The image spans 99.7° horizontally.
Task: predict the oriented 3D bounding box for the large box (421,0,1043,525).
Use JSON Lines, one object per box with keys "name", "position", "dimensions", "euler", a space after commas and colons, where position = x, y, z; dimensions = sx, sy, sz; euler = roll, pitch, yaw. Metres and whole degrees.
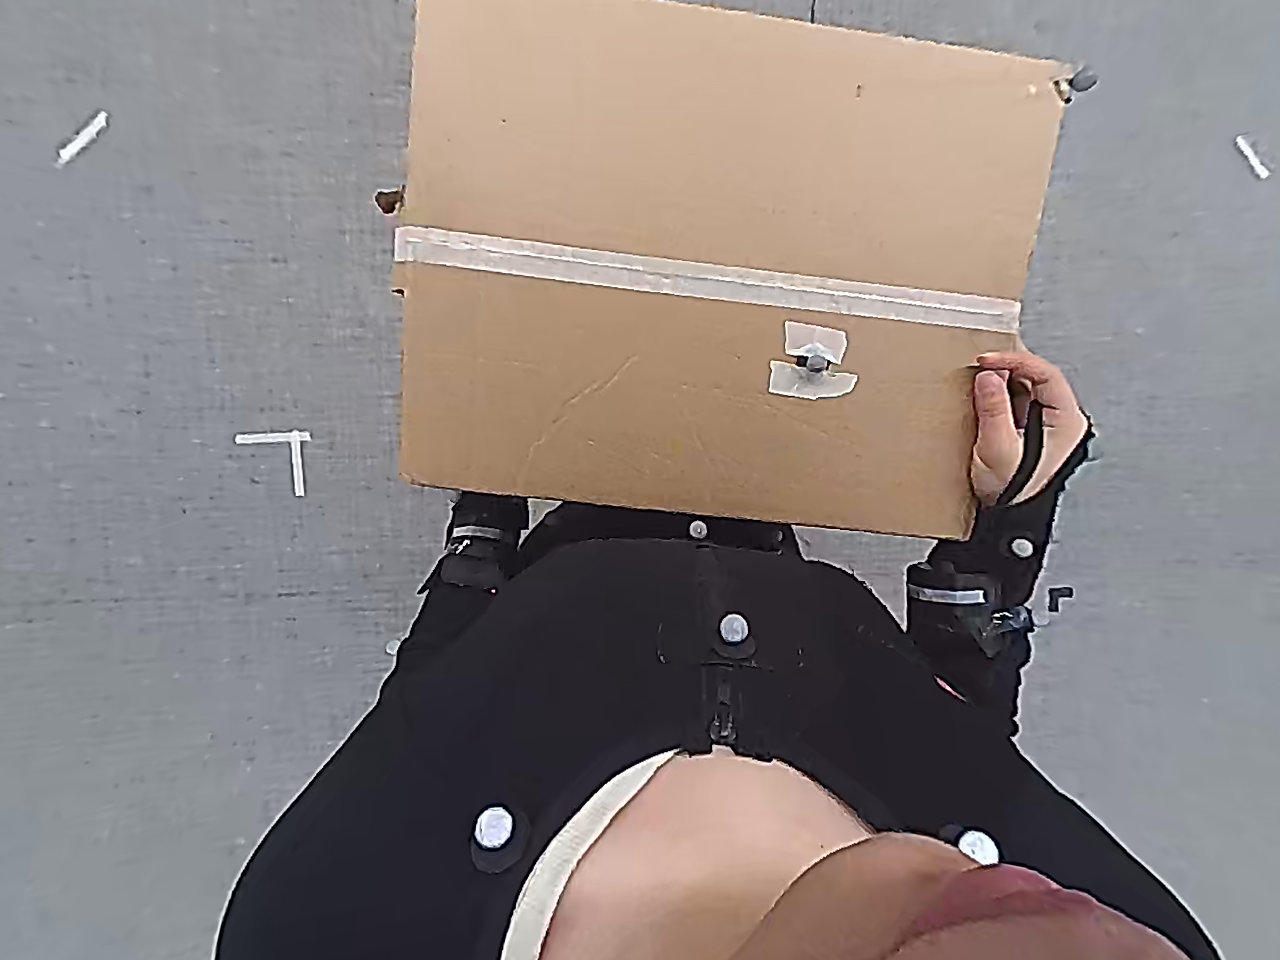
{"name": "large box", "position": [0.047, -0.155, 0.511], "dimensions": [0.408, 0.320, 0.320], "euler": [5, 100, -4]}
